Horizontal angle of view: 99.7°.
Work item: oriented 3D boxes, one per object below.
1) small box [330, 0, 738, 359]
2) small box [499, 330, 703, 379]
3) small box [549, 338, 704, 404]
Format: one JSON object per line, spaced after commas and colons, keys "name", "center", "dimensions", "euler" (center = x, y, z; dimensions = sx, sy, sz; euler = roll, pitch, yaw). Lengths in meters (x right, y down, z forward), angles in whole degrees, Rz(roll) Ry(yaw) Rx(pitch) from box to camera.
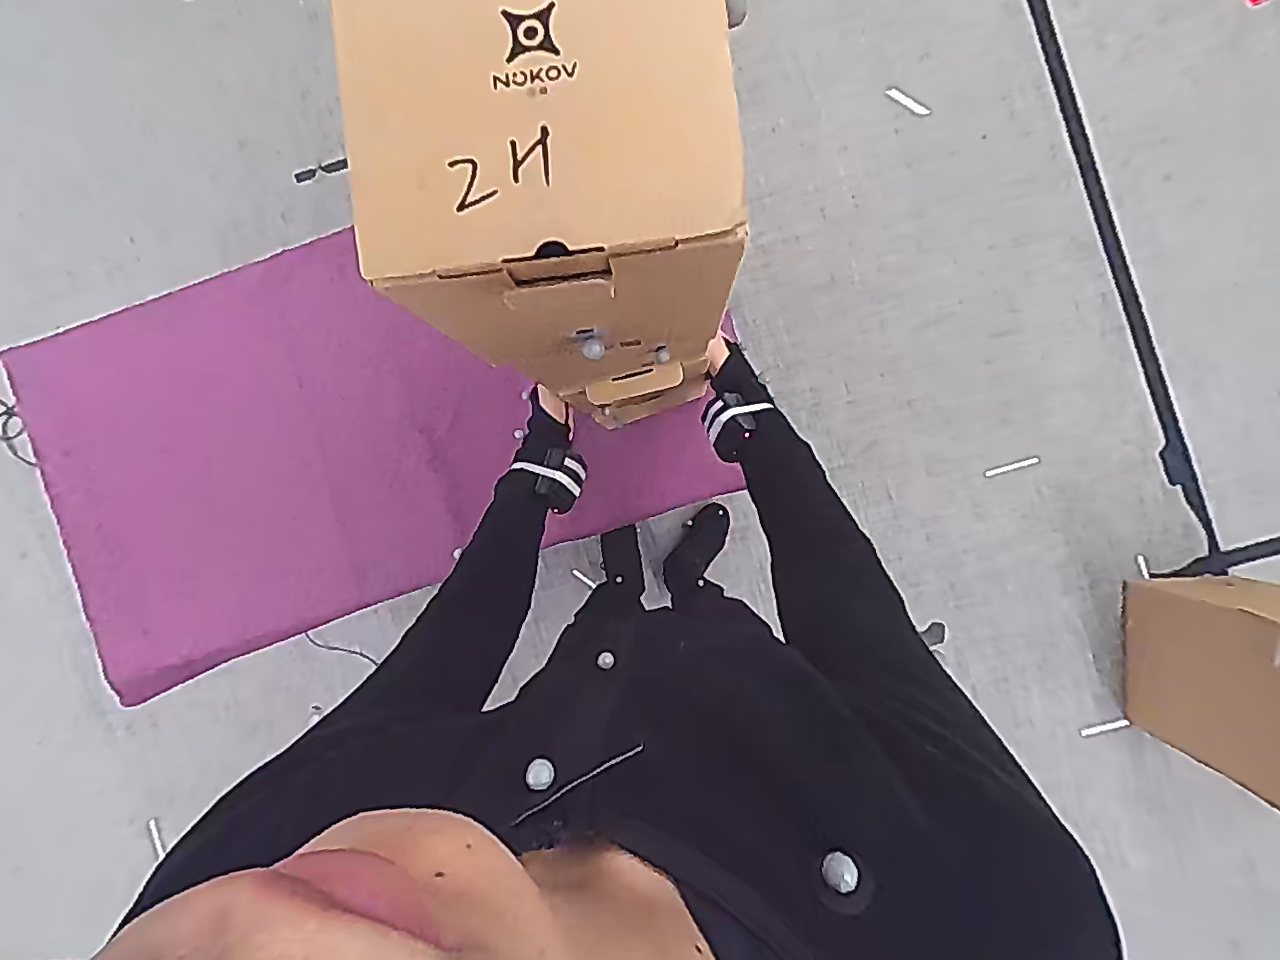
{"name": "small box", "center": [-0.044, -0.180, 0.305], "dimensions": [0.168, 0.176, 0.179], "euler": [-6, 90, 4]}
{"name": "small box", "center": [-0.038, -0.194, 0.470], "dimensions": [0.168, 0.176, 0.179], "euler": [-12, 89, 3]}
{"name": "small box", "center": [-0.024, -0.193, 0.632], "dimensions": [0.168, 0.176, 0.179], "euler": [-13, 89, 4]}
